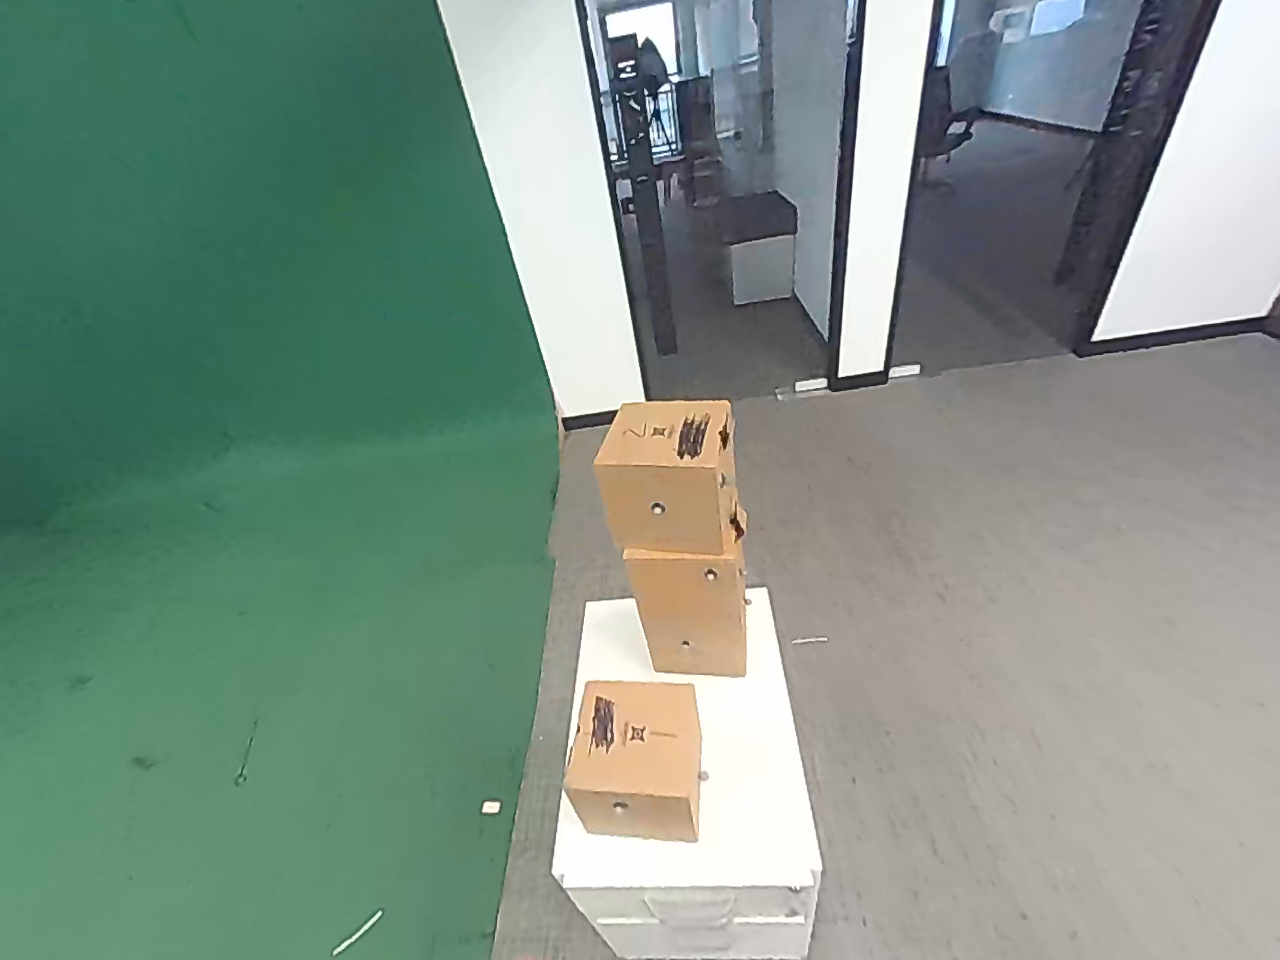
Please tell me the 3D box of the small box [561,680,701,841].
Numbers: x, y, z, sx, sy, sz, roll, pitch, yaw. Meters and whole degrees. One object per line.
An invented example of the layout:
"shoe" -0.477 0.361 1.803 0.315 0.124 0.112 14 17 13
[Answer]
"small box" -0.003 0.431 0.835 0.179 0.176 0.168 -2 38 11

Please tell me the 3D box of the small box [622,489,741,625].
"small box" 0.080 0.132 0.925 0.179 0.176 0.168 -2 39 12

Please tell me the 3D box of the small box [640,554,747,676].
"small box" 0.110 0.255 1.028 0.179 0.176 0.168 -2 40 13
